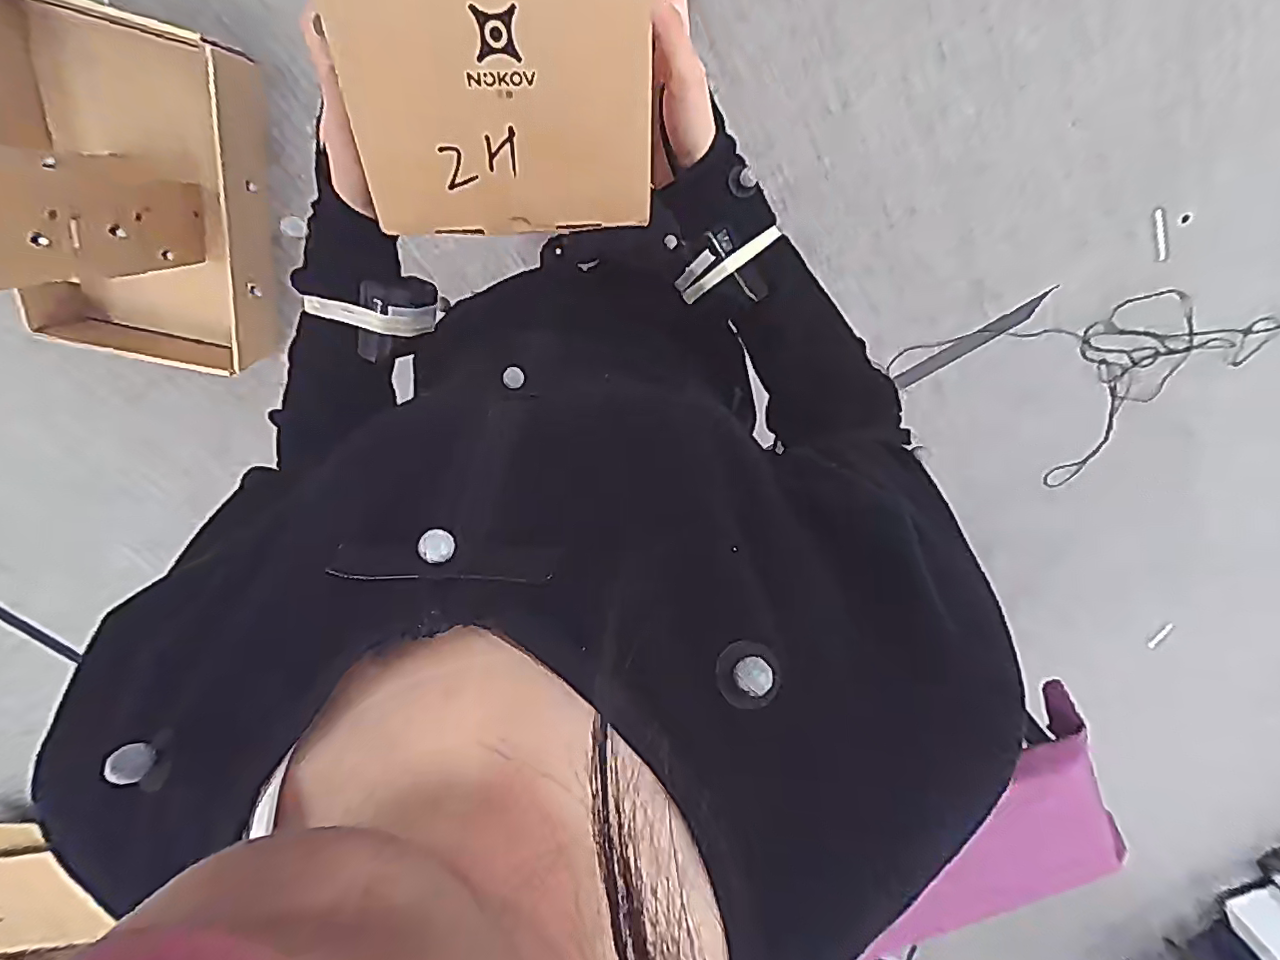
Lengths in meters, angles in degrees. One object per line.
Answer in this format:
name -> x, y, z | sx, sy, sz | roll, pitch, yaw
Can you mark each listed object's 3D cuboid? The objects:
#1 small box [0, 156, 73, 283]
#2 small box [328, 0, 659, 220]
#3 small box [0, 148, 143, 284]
small box -> -0.997, -0.389, 0.782 | 0.179, 0.176, 0.168 | 14, 115, -12
small box -> -0.084, -0.278, 0.341 | 0.168, 0.176, 0.179 | -5, 129, -7
small box -> -1.005, -0.457, 0.930 | 0.179, 0.176, 0.168 | 14, 115, -13
